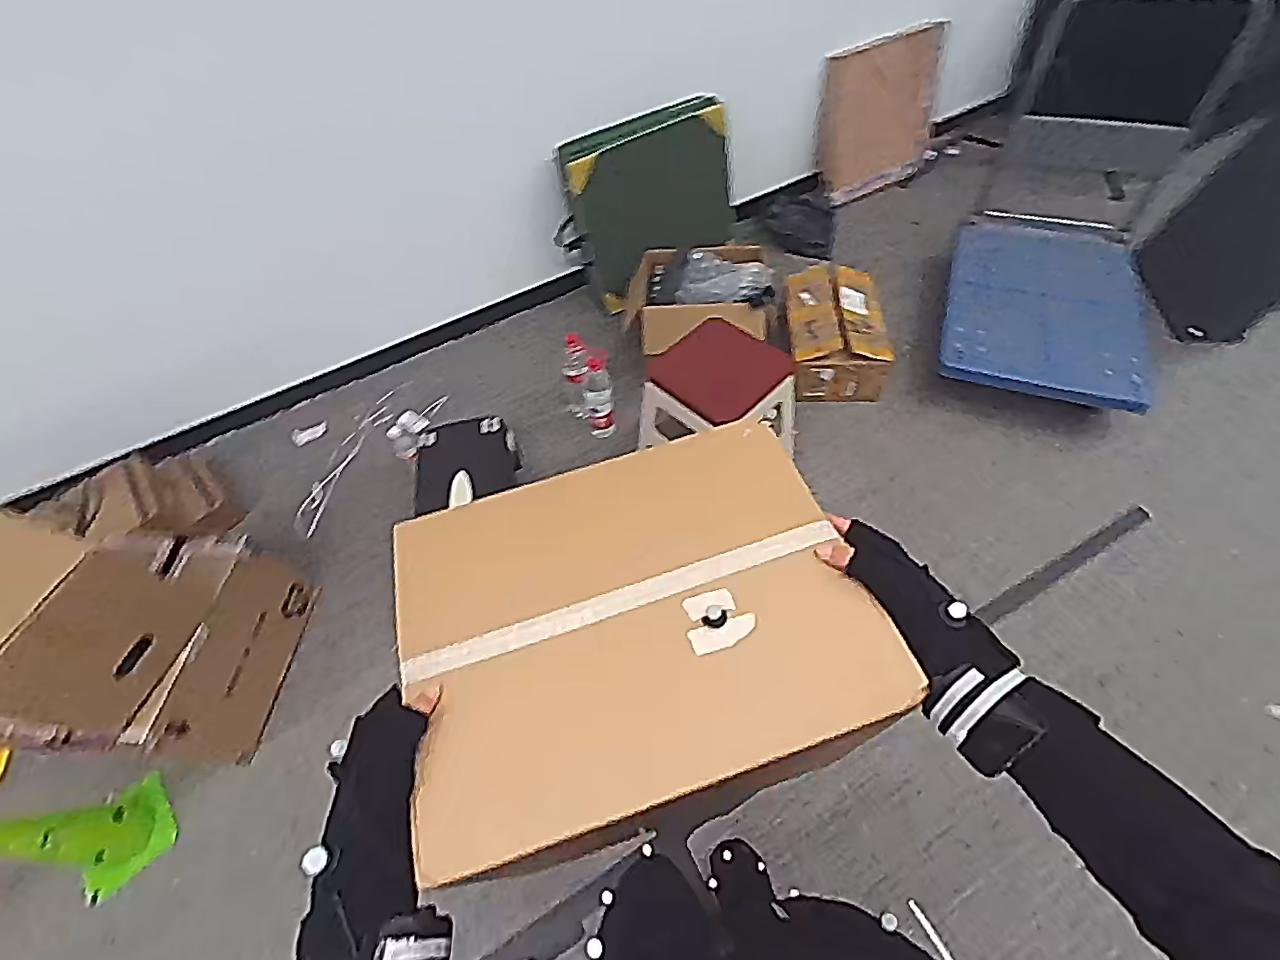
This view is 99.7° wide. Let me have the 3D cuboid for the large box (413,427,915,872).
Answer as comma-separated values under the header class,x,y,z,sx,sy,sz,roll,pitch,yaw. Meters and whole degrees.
class,x,y,z,sx,sy,sz,roll,pitch,yaw
large box,0.006,0.200,0.621,0.408,0.320,0.320,-17,55,-6
